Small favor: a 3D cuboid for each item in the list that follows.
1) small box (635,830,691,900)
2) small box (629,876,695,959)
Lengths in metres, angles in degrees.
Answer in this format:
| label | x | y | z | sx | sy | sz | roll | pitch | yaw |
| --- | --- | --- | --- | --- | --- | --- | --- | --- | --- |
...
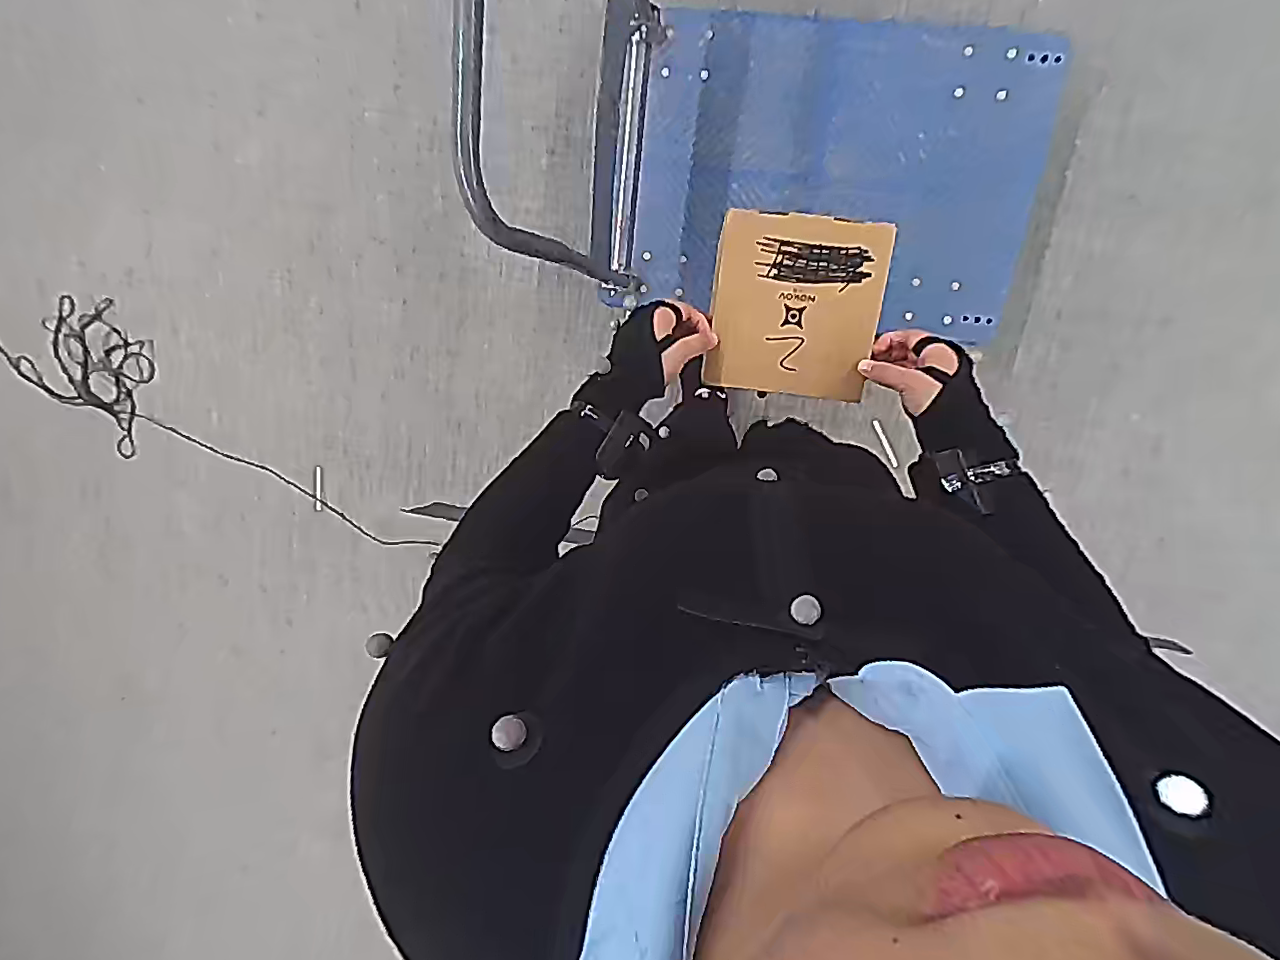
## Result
| label | x | y | z | sx | sy | sz | roll | pitch | yaw |
| --- | --- | --- | --- | --- | --- | --- | --- | --- | --- |
| small box | 0.080 | 1.273 | 1.742 | 0.168 | 0.176 | 0.179 | -2 | 104 | 7 |
| small box | 0.067 | 1.320 | 1.587 | 0.168 | 0.176 | 0.179 | 10 | 105 | 4 |
